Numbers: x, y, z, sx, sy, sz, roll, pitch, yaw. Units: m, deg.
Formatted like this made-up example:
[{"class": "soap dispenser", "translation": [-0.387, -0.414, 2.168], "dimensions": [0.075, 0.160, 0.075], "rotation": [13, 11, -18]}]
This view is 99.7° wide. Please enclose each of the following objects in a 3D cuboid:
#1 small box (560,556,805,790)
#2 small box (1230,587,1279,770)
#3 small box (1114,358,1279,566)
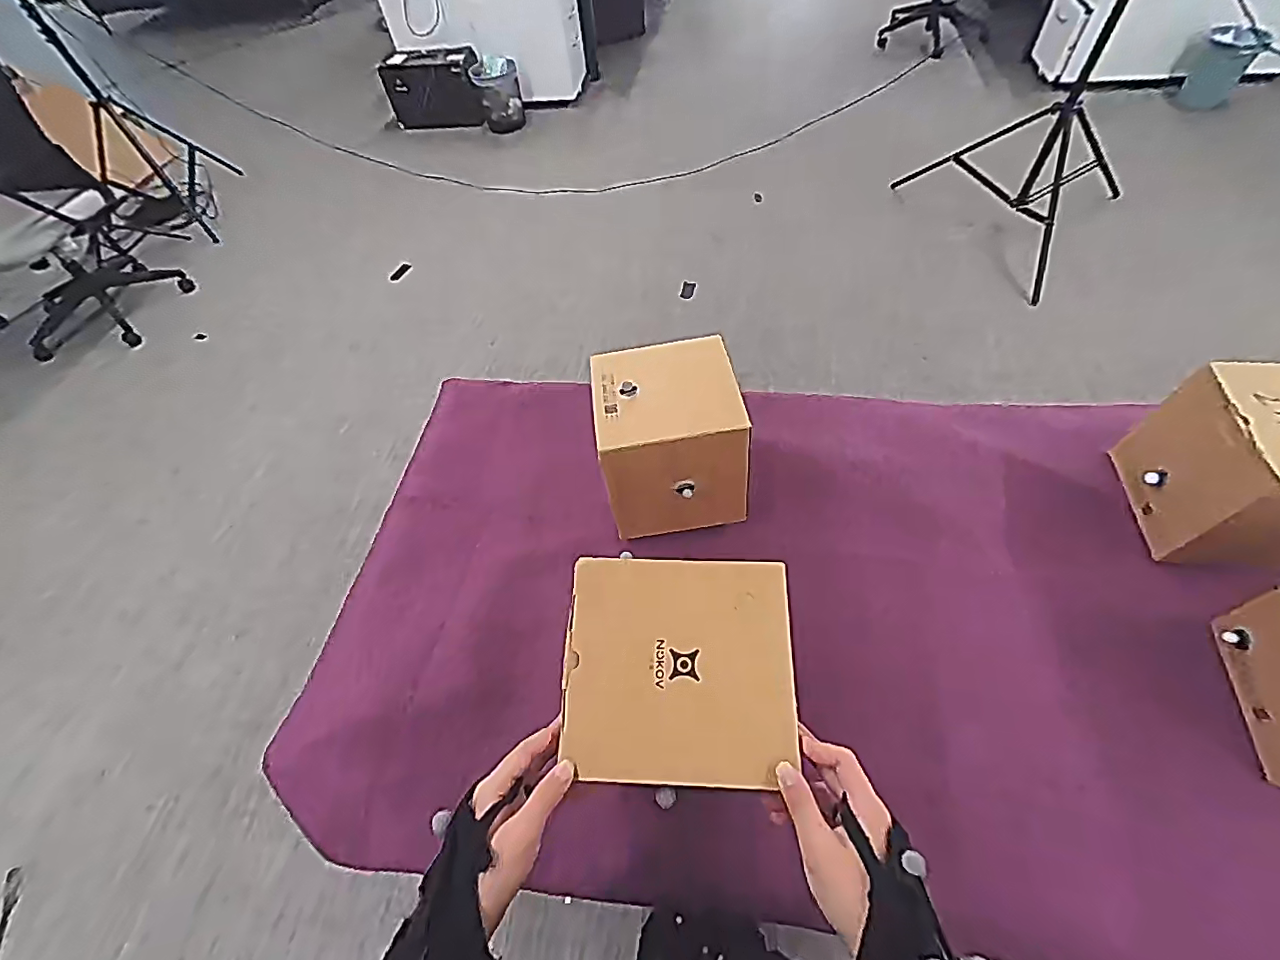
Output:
[{"class": "small box", "translation": [0.037, 0.173, 0.485], "dimensions": [0.179, 0.176, 0.168], "rotation": [0, 64, 4]}, {"class": "small box", "translation": [0.685, 0.180, 0.468], "dimensions": [0.179, 0.176, 0.168], "rotation": [9, 55, 12]}, {"class": "small box", "translation": [0.697, -0.014, 0.602], "dimensions": [0.179, 0.176, 0.168], "rotation": [4, 57, 8]}]
